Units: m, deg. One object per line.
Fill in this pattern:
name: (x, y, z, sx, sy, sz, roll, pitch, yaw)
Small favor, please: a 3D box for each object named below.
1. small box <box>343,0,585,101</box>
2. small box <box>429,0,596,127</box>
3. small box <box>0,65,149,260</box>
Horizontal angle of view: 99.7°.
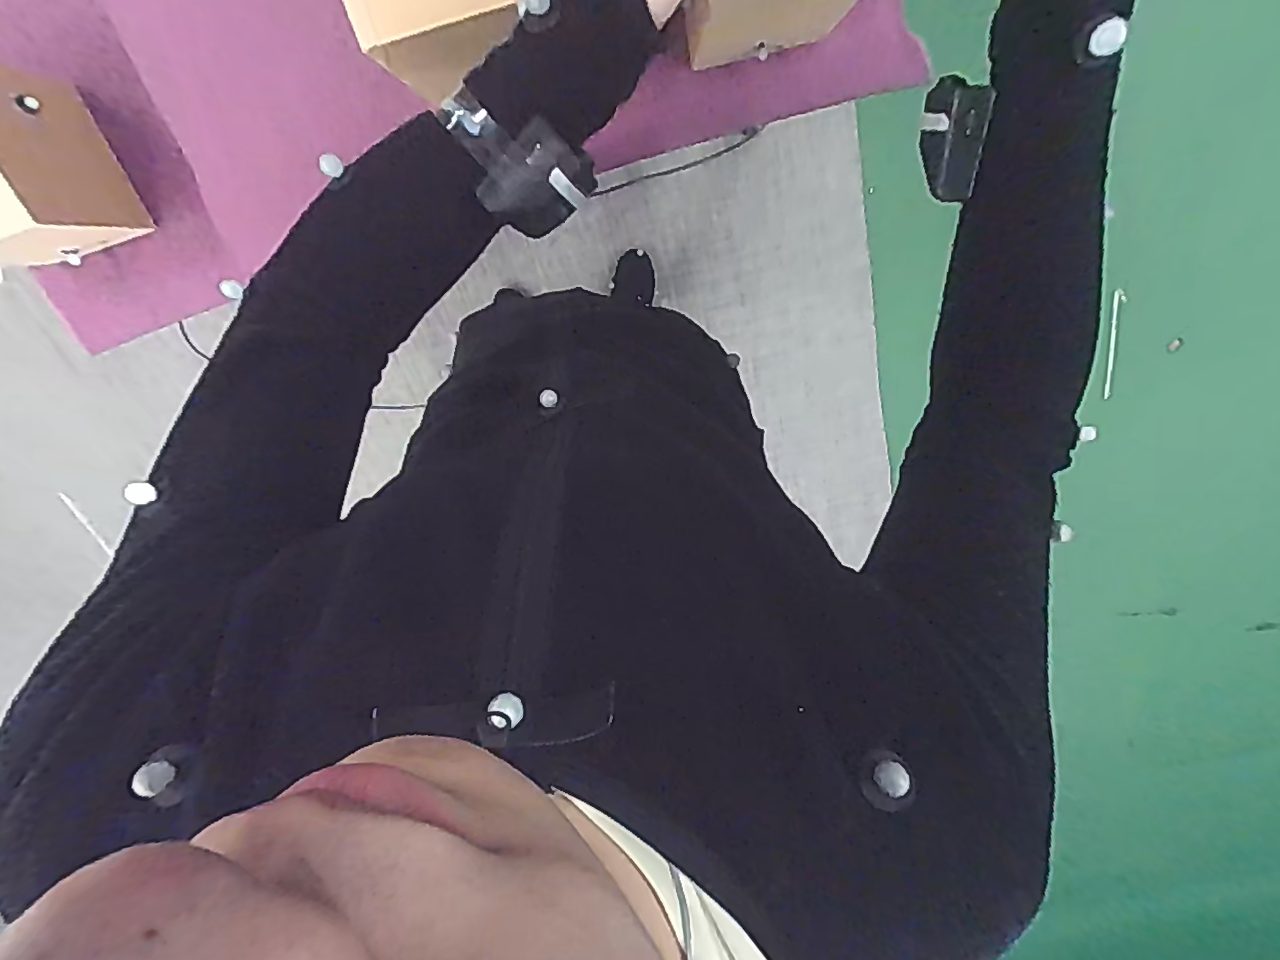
small box: (-0.148, -0.444, 0.435, 0.168, 0.176, 0.179, -12, 113, 5)
small box: (-0.150, -0.507, 0.586, 0.168, 0.176, 0.179, -13, 112, 5)
small box: (-0.759, -0.367, 0.637, 0.168, 0.176, 0.179, -15, 113, 6)
